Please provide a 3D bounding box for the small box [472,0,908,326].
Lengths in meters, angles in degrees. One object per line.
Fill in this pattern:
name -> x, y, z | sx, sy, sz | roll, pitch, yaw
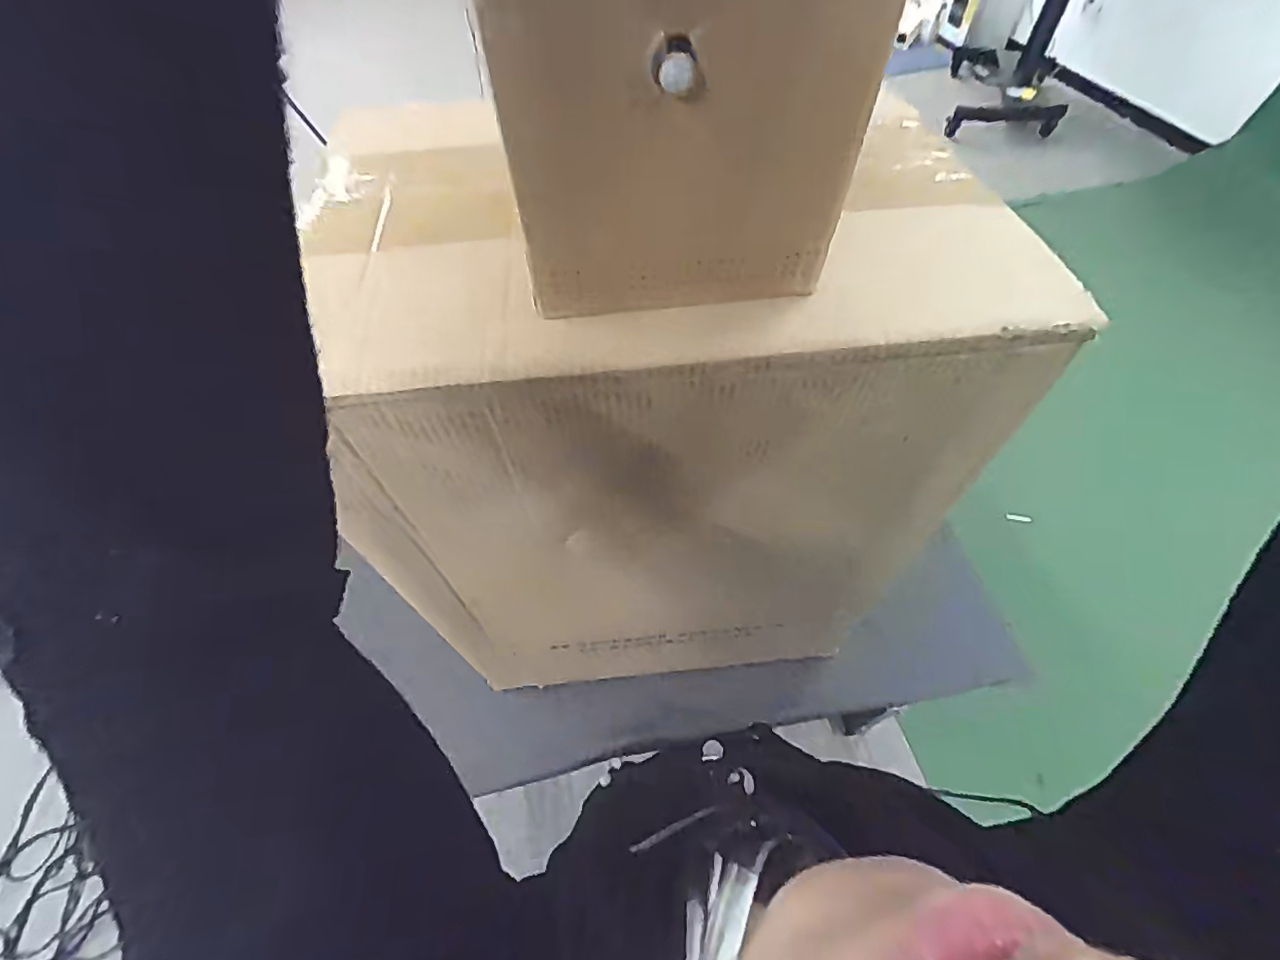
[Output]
small box -> 0.016, -0.212, 0.317 | 0.179, 0.176, 0.168 | -6, 57, -1
